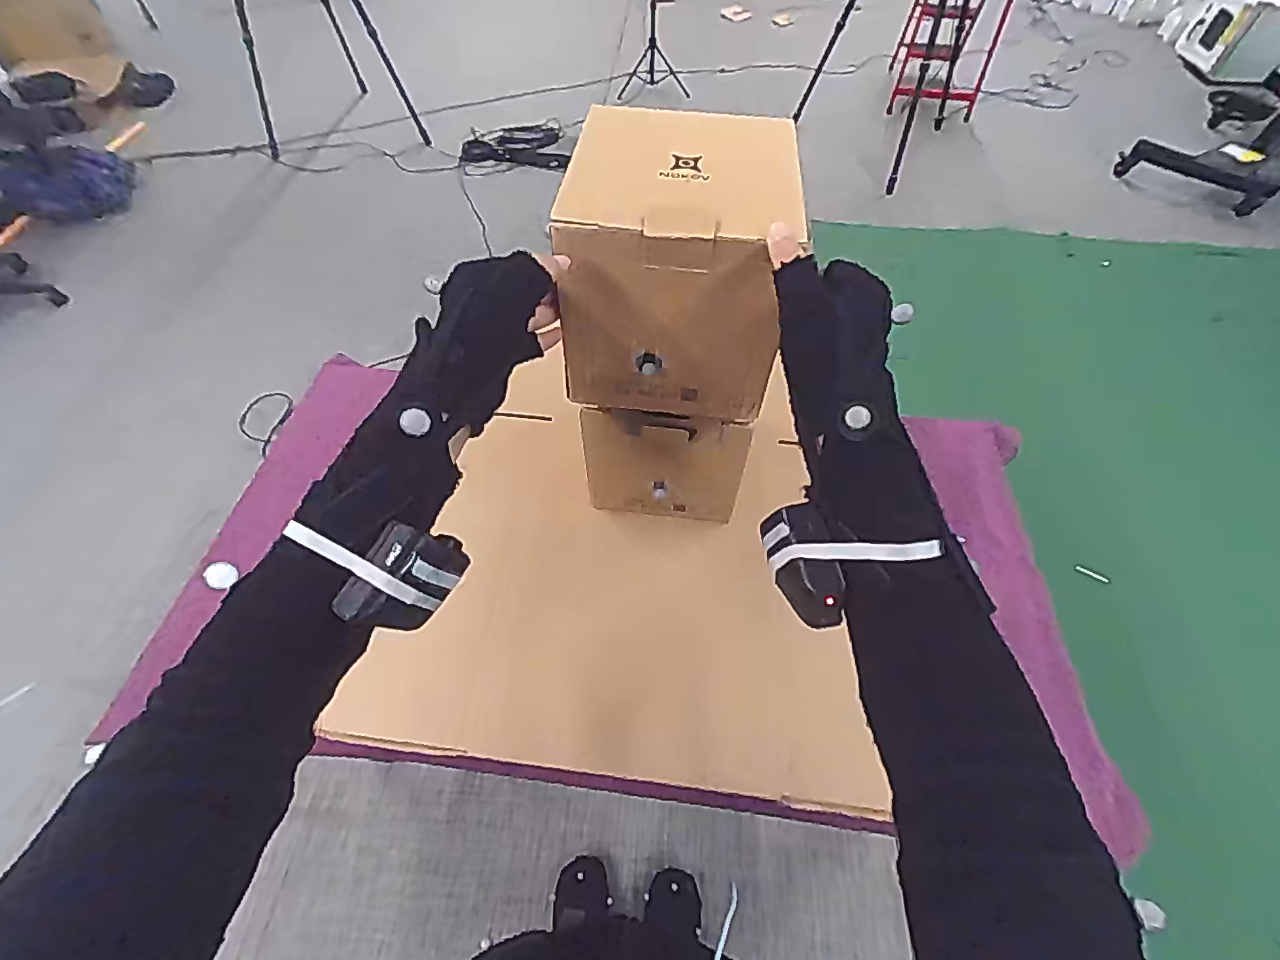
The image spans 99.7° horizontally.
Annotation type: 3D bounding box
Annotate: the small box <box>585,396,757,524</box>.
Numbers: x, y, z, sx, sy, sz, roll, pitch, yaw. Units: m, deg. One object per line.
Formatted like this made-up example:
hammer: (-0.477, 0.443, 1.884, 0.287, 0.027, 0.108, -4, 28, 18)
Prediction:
small box: (0.038, -0.074, 0.615, 0.168, 0.176, 0.179, 6, 55, 4)

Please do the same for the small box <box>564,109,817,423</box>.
small box: (0.036, -0.174, 0.455, 0.168, 0.176, 0.179, 6, 56, 1)
